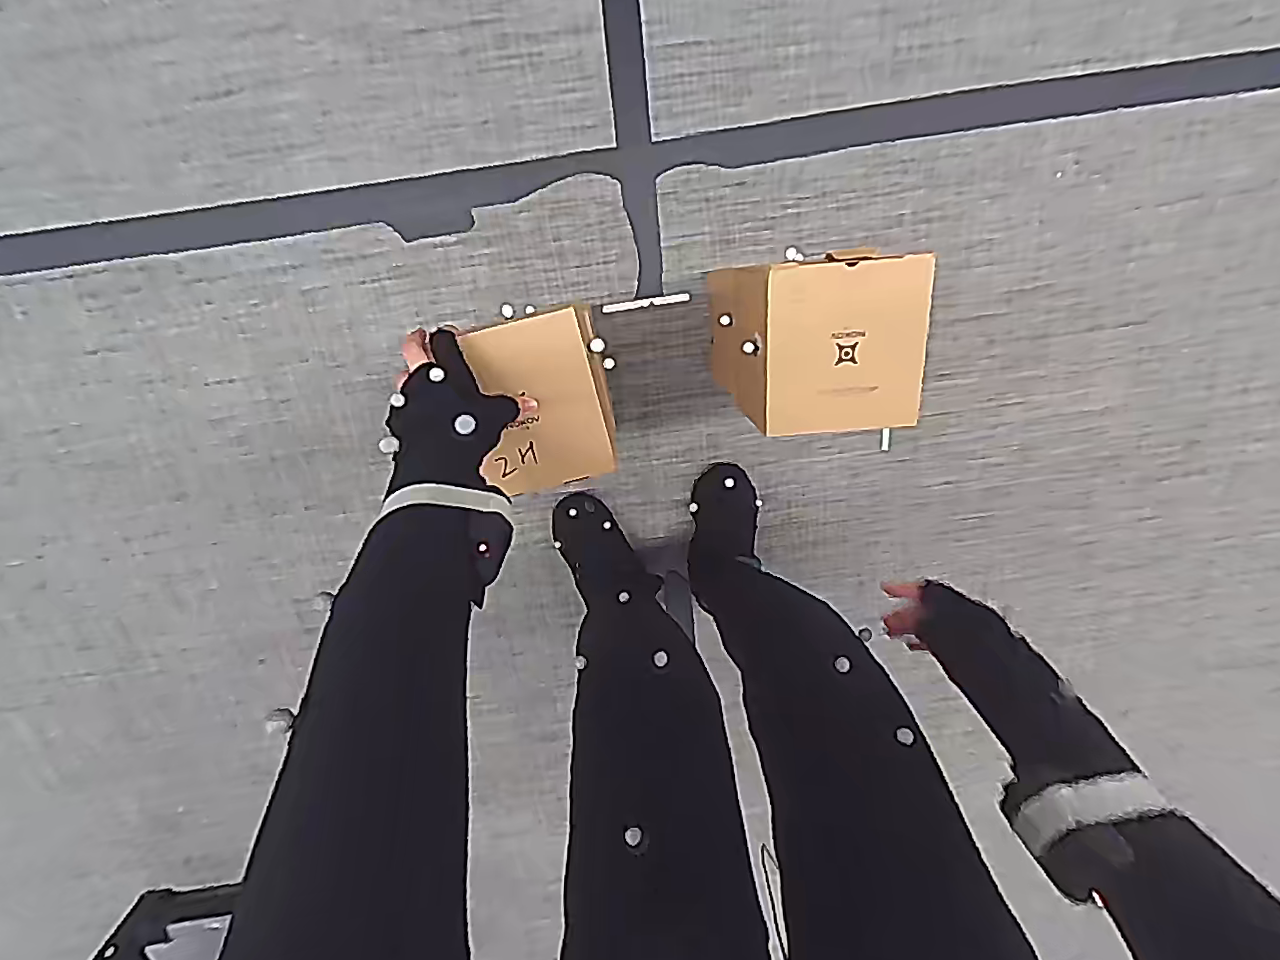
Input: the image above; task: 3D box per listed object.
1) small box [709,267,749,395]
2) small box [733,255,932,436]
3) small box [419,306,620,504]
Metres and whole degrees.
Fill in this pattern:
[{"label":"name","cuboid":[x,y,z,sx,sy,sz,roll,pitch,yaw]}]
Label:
[{"label":"small box","cuboid":[0.204,-0.221,0.782,0.179,0.176,0.168,-5,110,-4]},{"label":"small box","cuboid":[0.206,-0.161,0.631,0.168,0.176,0.179,-4,111,-1]},{"label":"small box","cuboid":[-0.125,-0.097,0.628,0.168,0.176,0.179,-14,111,2]}]
